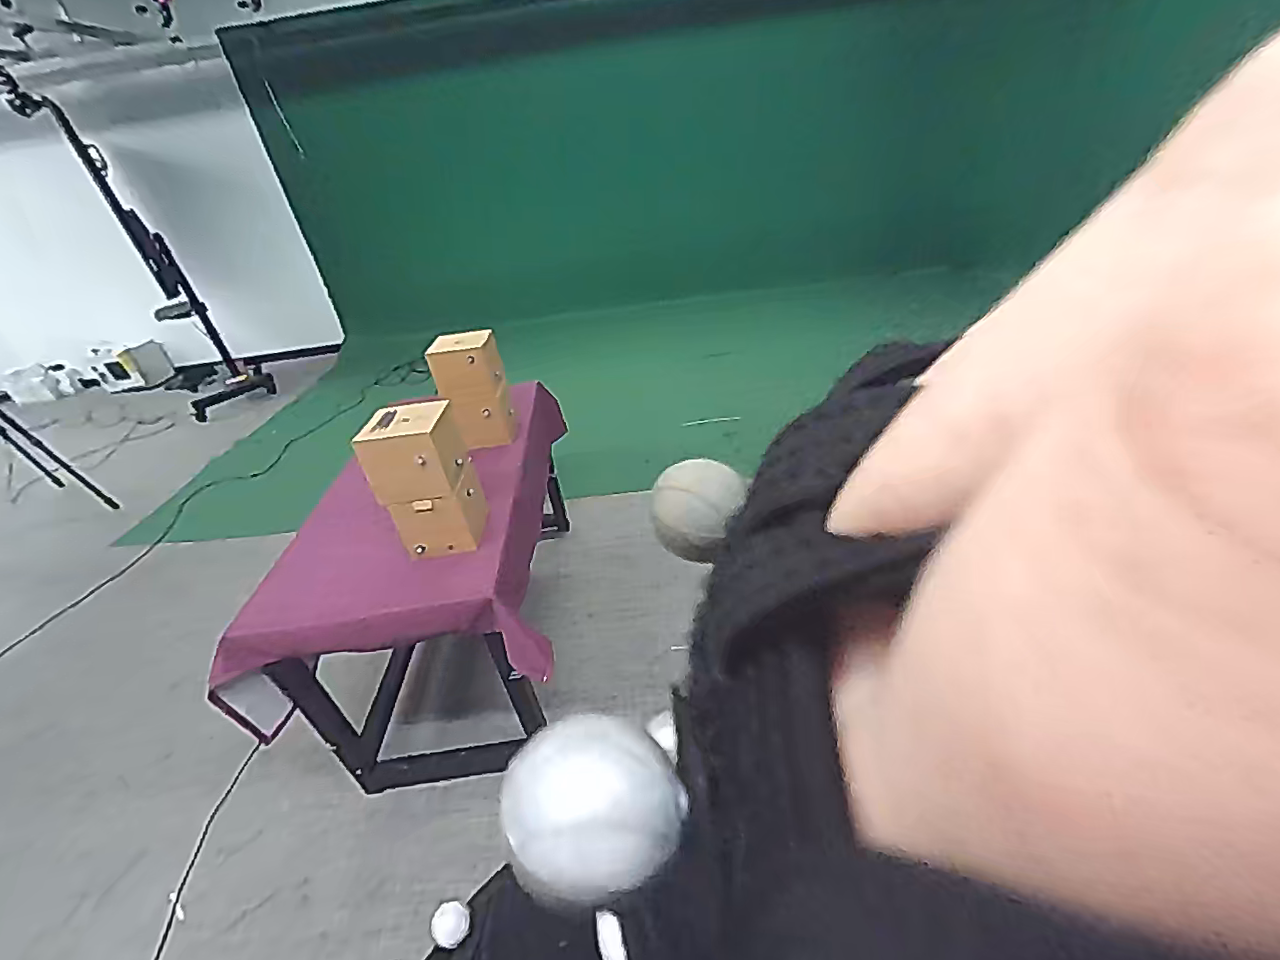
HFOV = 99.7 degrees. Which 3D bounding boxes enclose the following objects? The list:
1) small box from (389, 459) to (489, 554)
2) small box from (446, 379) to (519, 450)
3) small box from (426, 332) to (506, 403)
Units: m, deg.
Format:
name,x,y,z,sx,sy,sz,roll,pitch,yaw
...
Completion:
name,x,y,z,sx,sy,sz,roll,pitch,yaw
small box,-0.493,0.071,1.356,0.168,0.176,0.179,-8,32,2
small box,-0.514,-0.215,1.794,0.179,0.176,0.168,-7,33,2
small box,-0.542,-0.352,1.709,0.179,0.176,0.168,-6,33,2
